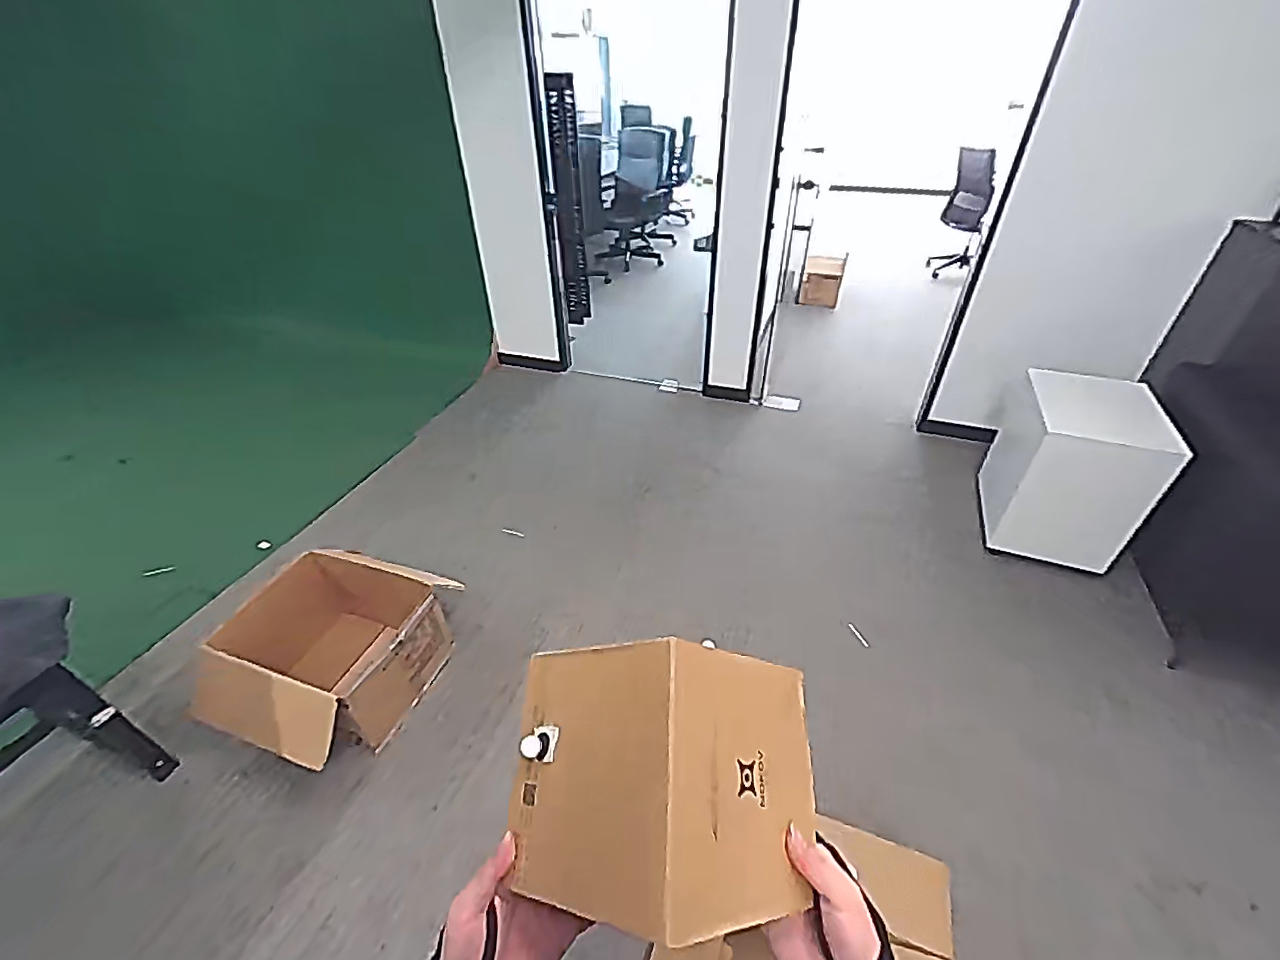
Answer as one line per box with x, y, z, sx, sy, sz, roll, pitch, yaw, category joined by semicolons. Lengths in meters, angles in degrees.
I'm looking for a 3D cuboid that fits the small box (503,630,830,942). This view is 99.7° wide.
0.022;0.222;0.422;0.176;0.179;0.168;-23;54;40;small box
